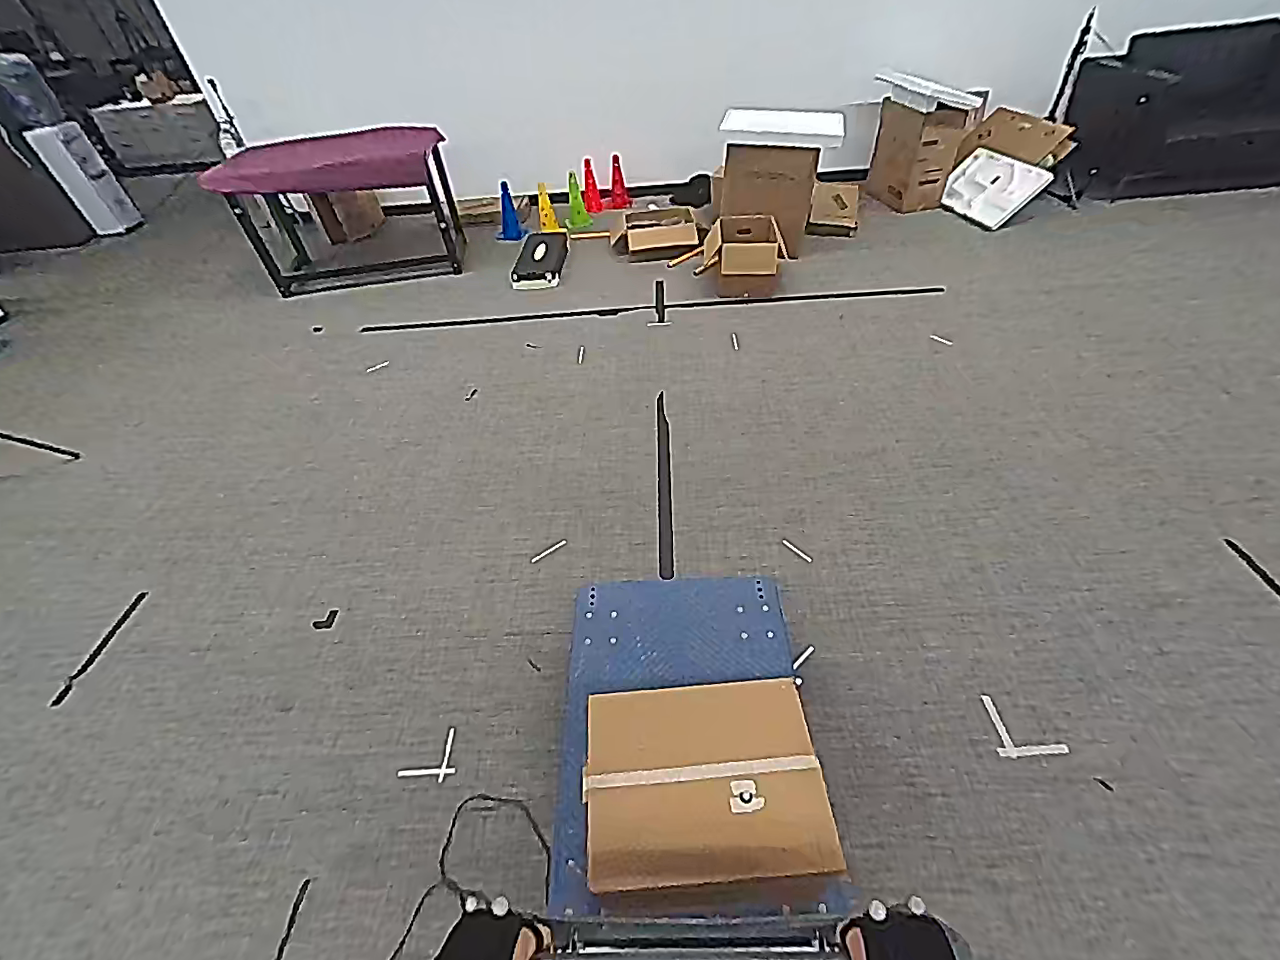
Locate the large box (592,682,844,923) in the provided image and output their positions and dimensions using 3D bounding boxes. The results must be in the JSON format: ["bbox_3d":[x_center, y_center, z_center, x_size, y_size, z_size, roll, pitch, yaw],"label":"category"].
[{"bbox_3d":[0.122,0.629,1.057,0.408,0.320,0.320,-5,45,-1],"label":"large box"}]
